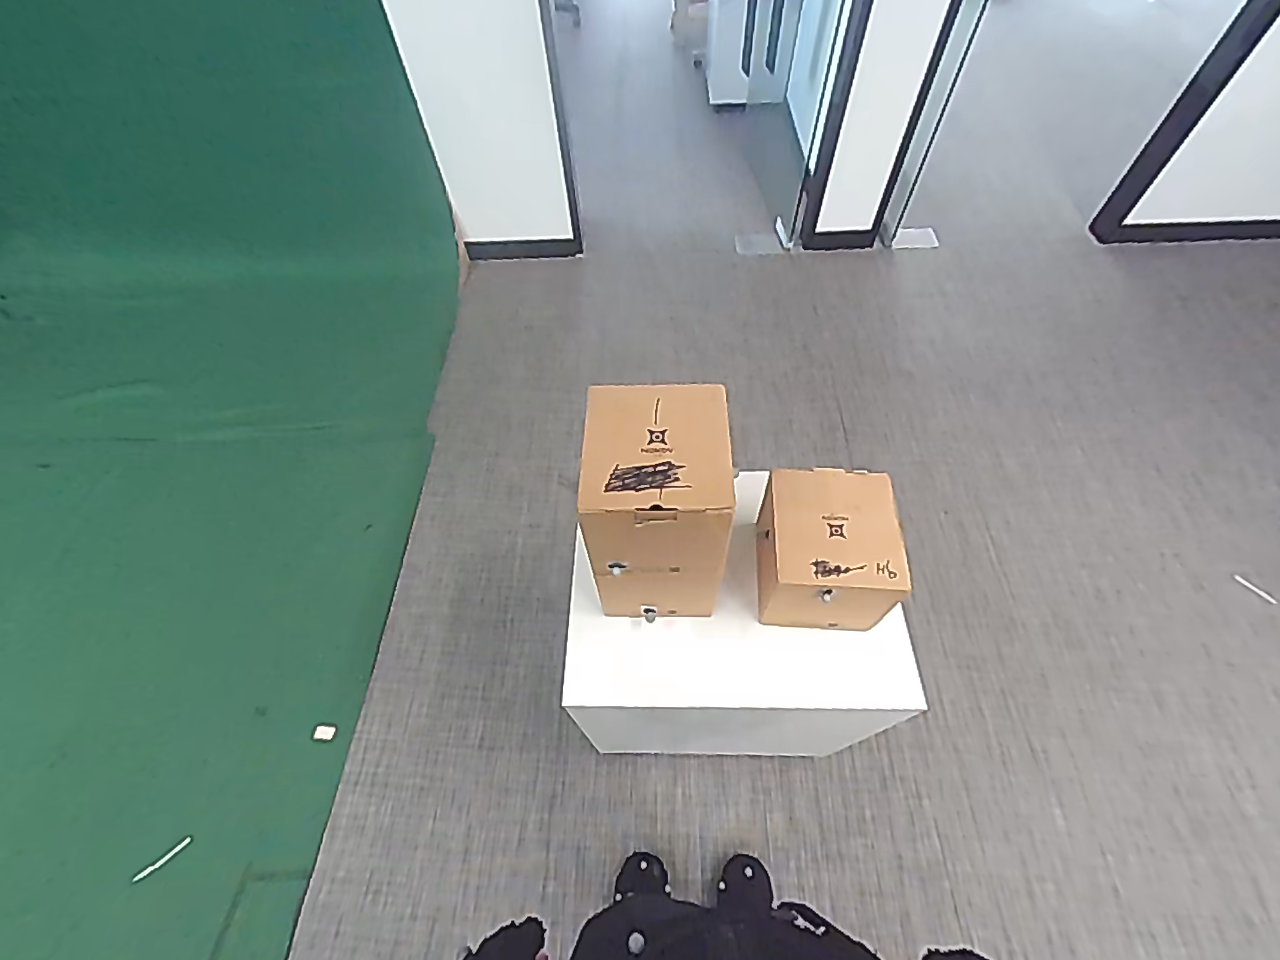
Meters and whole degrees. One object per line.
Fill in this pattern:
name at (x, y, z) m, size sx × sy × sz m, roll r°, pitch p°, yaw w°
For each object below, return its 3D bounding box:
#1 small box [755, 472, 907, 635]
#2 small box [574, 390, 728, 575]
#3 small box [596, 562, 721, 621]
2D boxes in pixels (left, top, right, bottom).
small box at (0.262, 0.110, 0.791) m, size 0.168 × 0.176 × 0.179 m, roll 3°, pitch 57°, yaw 5°
small box at (0.019, 0.009, 0.674) m, size 0.168 × 0.176 × 0.179 m, roll 0°, pitch 56°, yaw 3°
small box at (0.027, 0.100, 0.811) m, size 0.168 × 0.176 × 0.179 m, roll -2°, pitch 58°, yaw 2°
